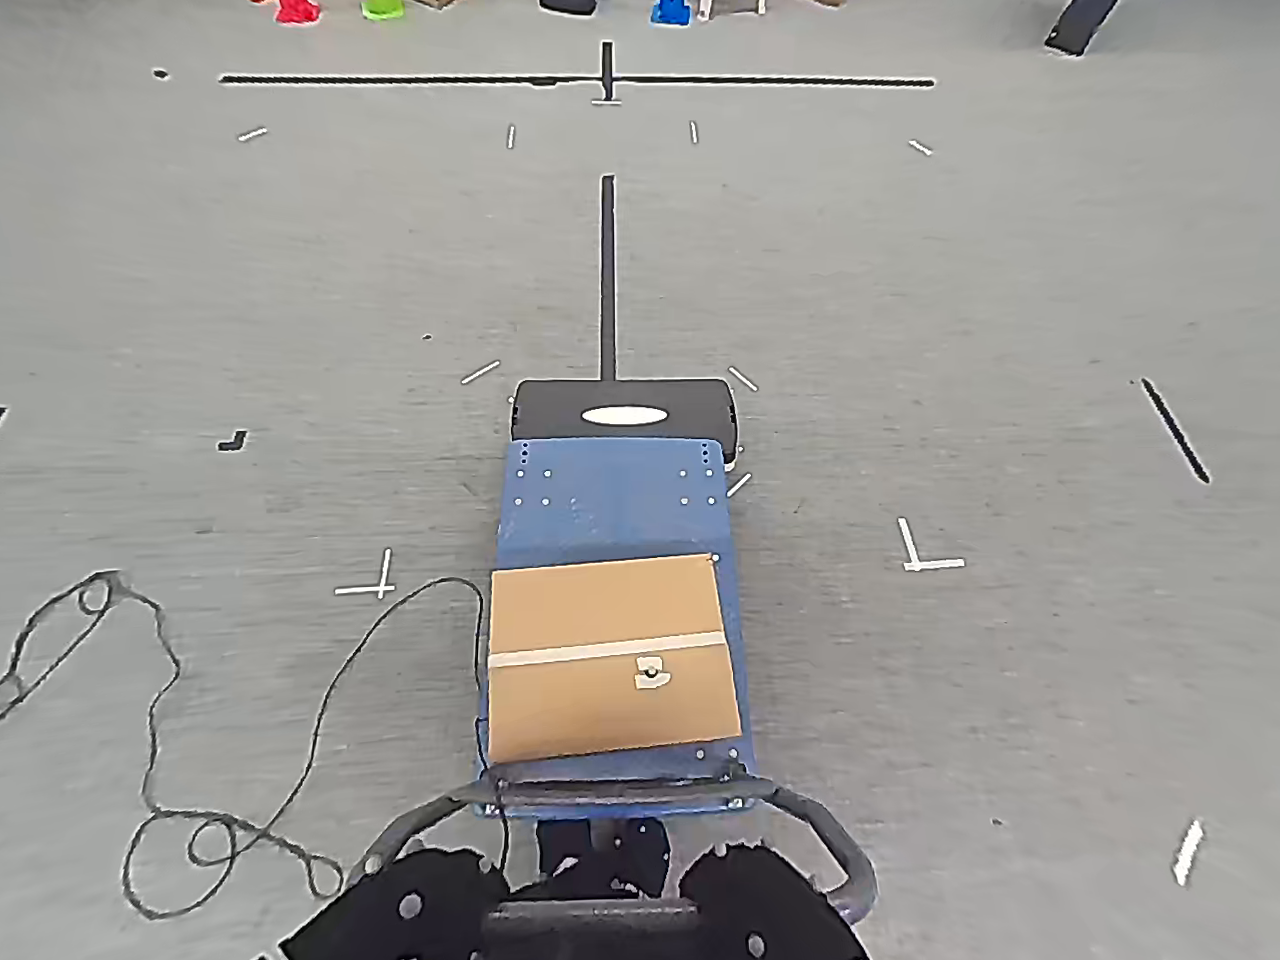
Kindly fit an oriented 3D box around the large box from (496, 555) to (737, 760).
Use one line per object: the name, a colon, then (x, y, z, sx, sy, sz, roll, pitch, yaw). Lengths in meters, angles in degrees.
large box: (-0.059, 0.361, 1.076, 0.408, 0.320, 0.320, -4, 63, -5)
